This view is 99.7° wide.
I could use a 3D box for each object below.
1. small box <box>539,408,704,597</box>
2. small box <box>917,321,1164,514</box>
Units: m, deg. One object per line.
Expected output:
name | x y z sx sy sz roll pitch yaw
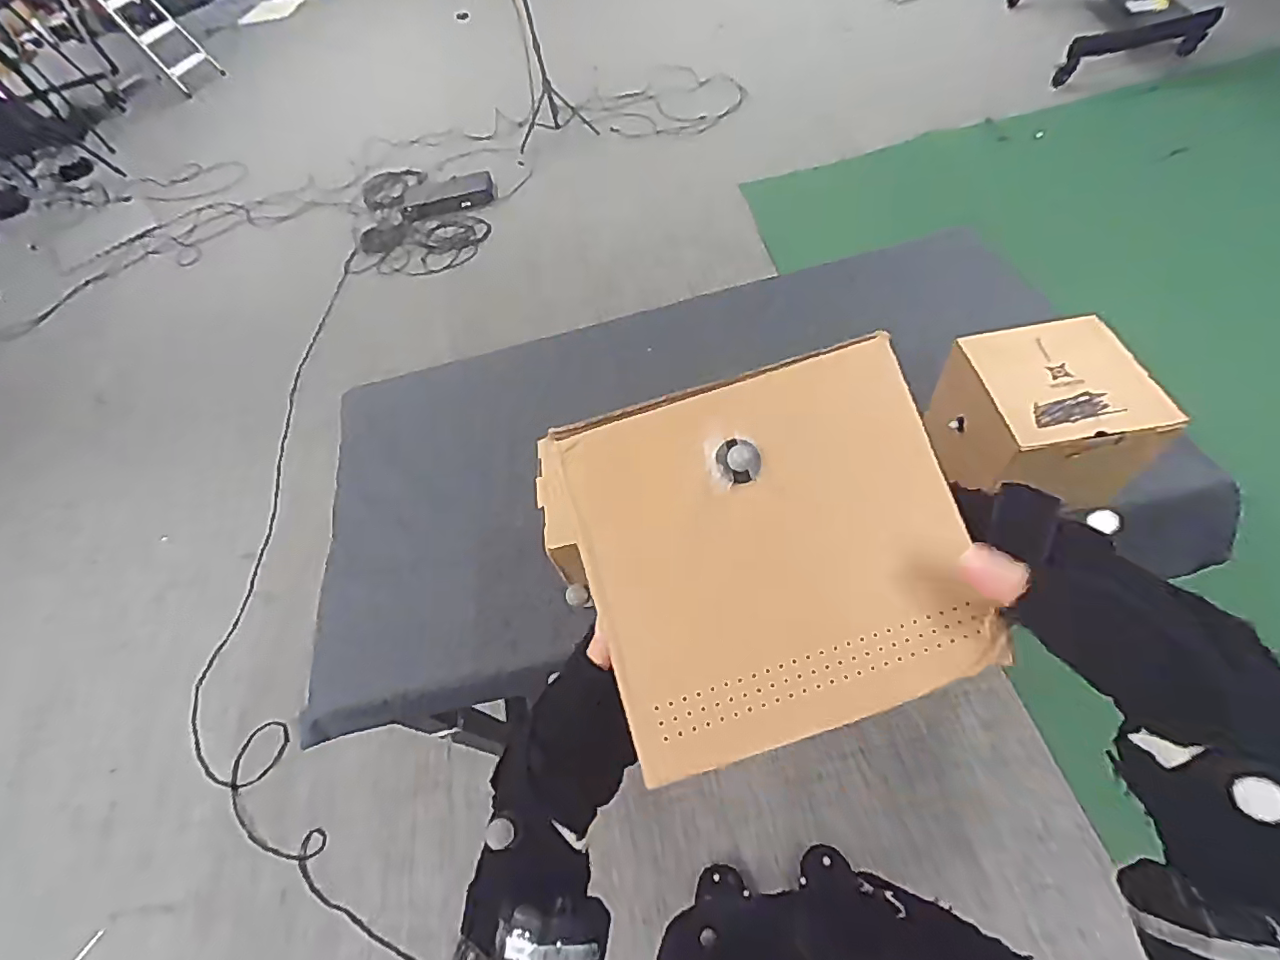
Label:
small box | -0.021 0.037 0.709 0.179 0.176 0.168 -13 54 2
small box | 0.482 -0.068 0.688 0.168 0.176 0.179 -8 55 6
